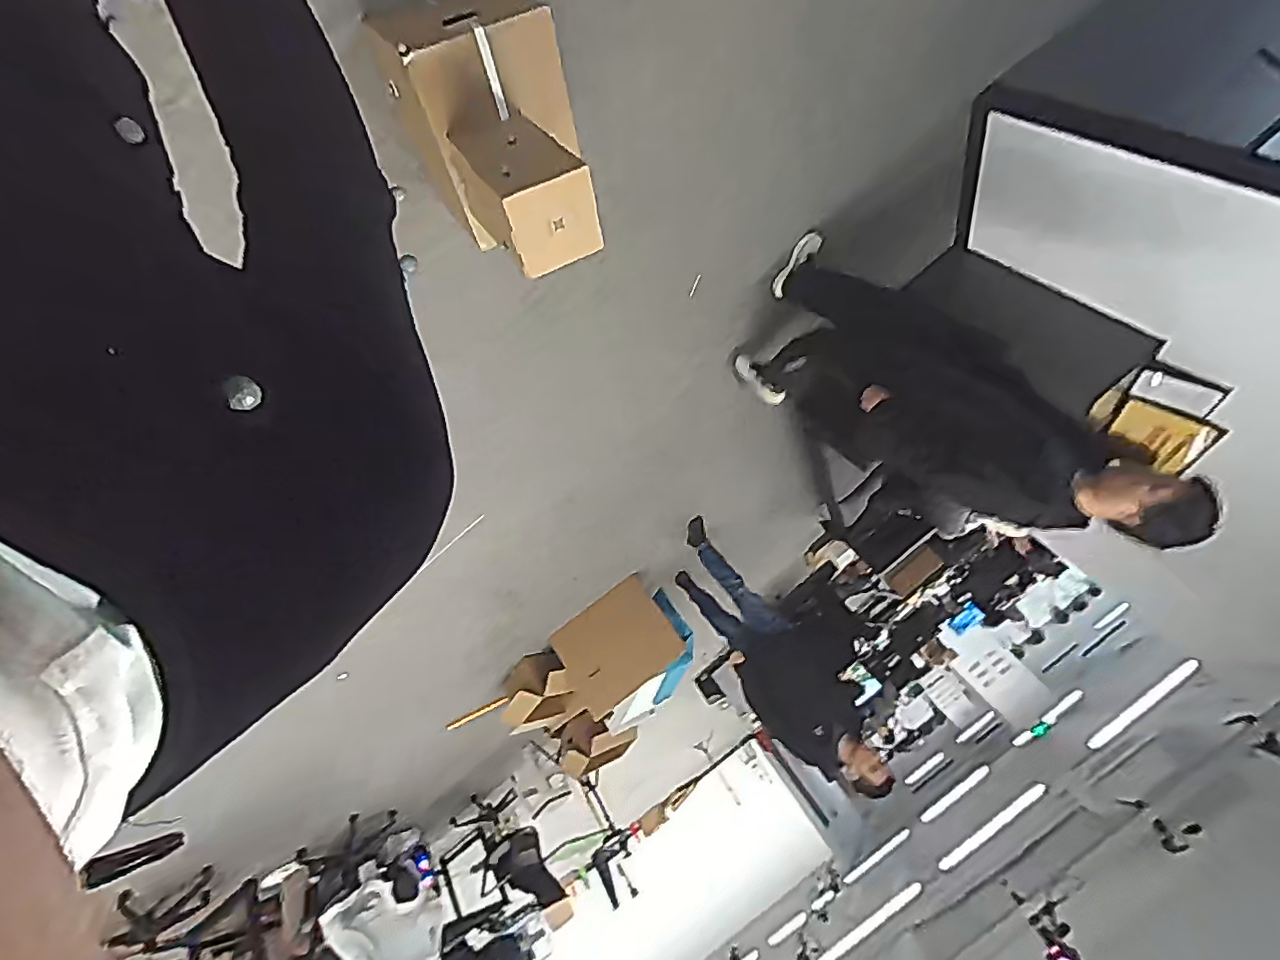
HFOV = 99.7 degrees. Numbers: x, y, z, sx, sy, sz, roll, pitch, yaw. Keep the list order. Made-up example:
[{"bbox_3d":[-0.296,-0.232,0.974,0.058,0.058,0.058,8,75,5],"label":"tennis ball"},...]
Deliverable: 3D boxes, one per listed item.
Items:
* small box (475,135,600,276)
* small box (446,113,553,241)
[{"bbox_3d":[-0.203,-0.537,1.055,0.179,0.176,0.168,-30,147,-13],"label":"small box"},{"bbox_3d":[-0.281,-0.647,1.147,0.179,0.176,0.168,-27,146,-14],"label":"small box"}]
